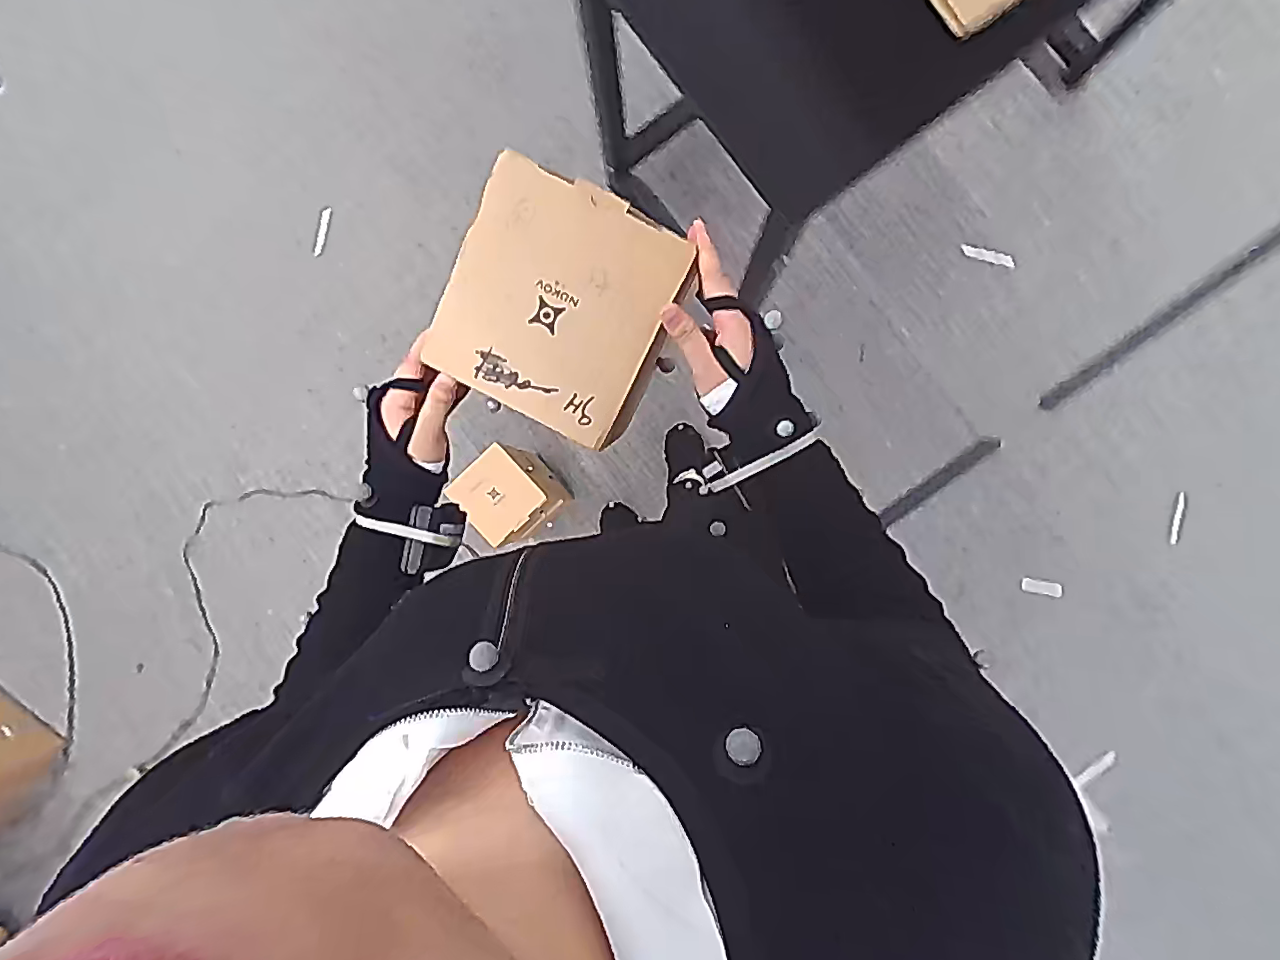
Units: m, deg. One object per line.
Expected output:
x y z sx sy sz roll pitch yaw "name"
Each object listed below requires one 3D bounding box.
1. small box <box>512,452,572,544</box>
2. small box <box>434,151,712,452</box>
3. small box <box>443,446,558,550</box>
-0.305 0.048 1.435 0.168 0.176 0.179 -41 88 1 "small box"
-0.050 -0.147 0.497 0.168 0.176 0.179 29 101 1 "small box"
-0.318 0.040 1.273 0.168 0.176 0.179 -44 86 0 "small box"
